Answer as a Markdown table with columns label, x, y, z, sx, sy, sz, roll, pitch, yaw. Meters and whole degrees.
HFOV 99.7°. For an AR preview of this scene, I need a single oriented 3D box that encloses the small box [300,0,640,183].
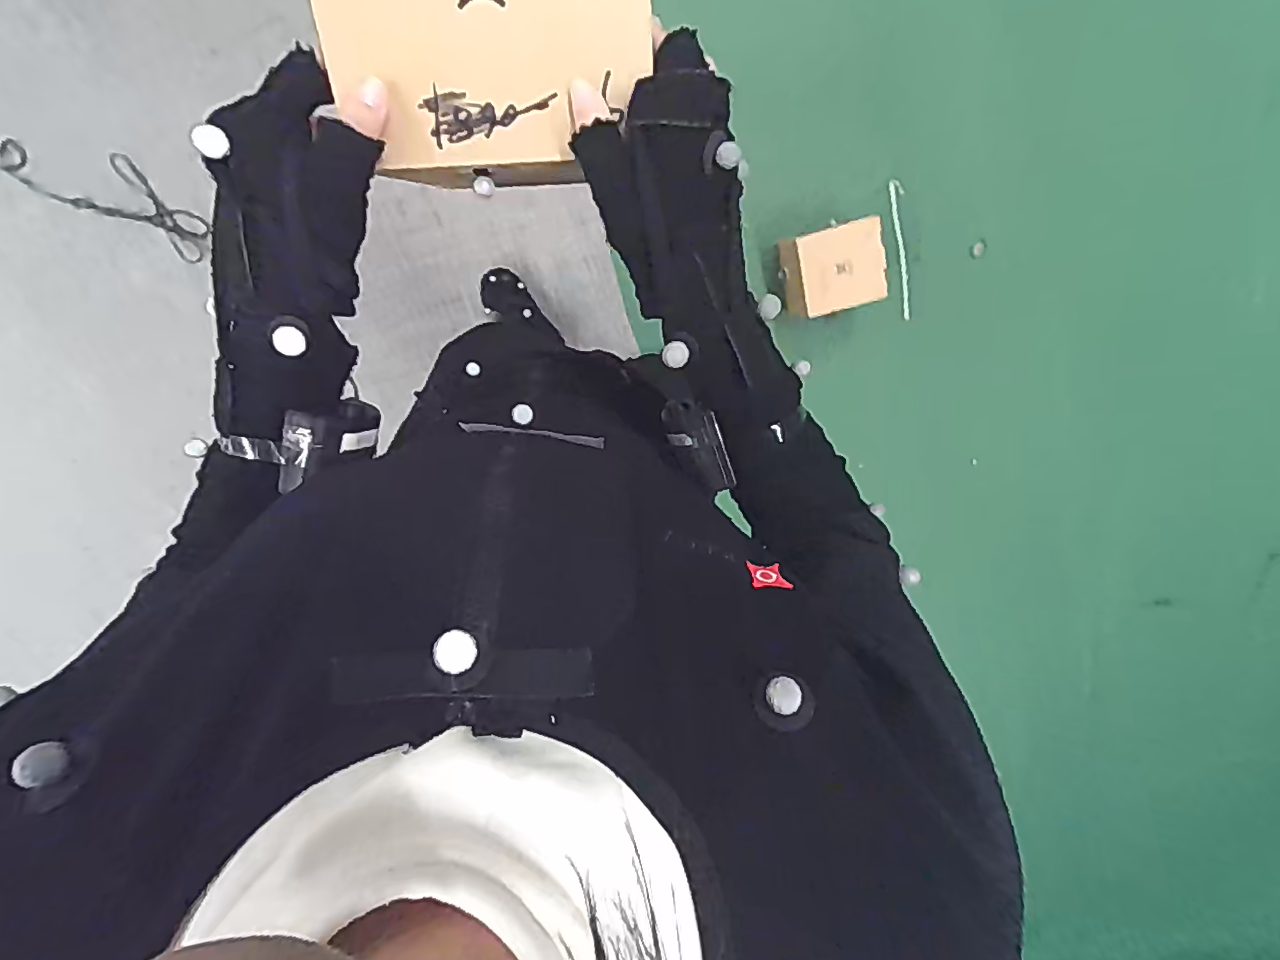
| label | x | y | z | sx | sy | sz | roll | pitch | yaw |
| --- | --- | --- | --- | --- | --- | --- | --- | --- | --- |
| small box | -0.090 | -0.290 | 0.330 | 0.168 | 0.176 | 0.179 | -4 | 116 | -1 |

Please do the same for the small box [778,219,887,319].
| label | x | y | z | sx | sy | sz | roll | pitch | yaw |
| --- | --- | --- | --- | --- | --- | --- | --- | --- | --- |
| small box | 0.429 | -0.474 | 1.220 | 0.179 | 0.176 | 0.168 | -14 | 110 | 6 |
